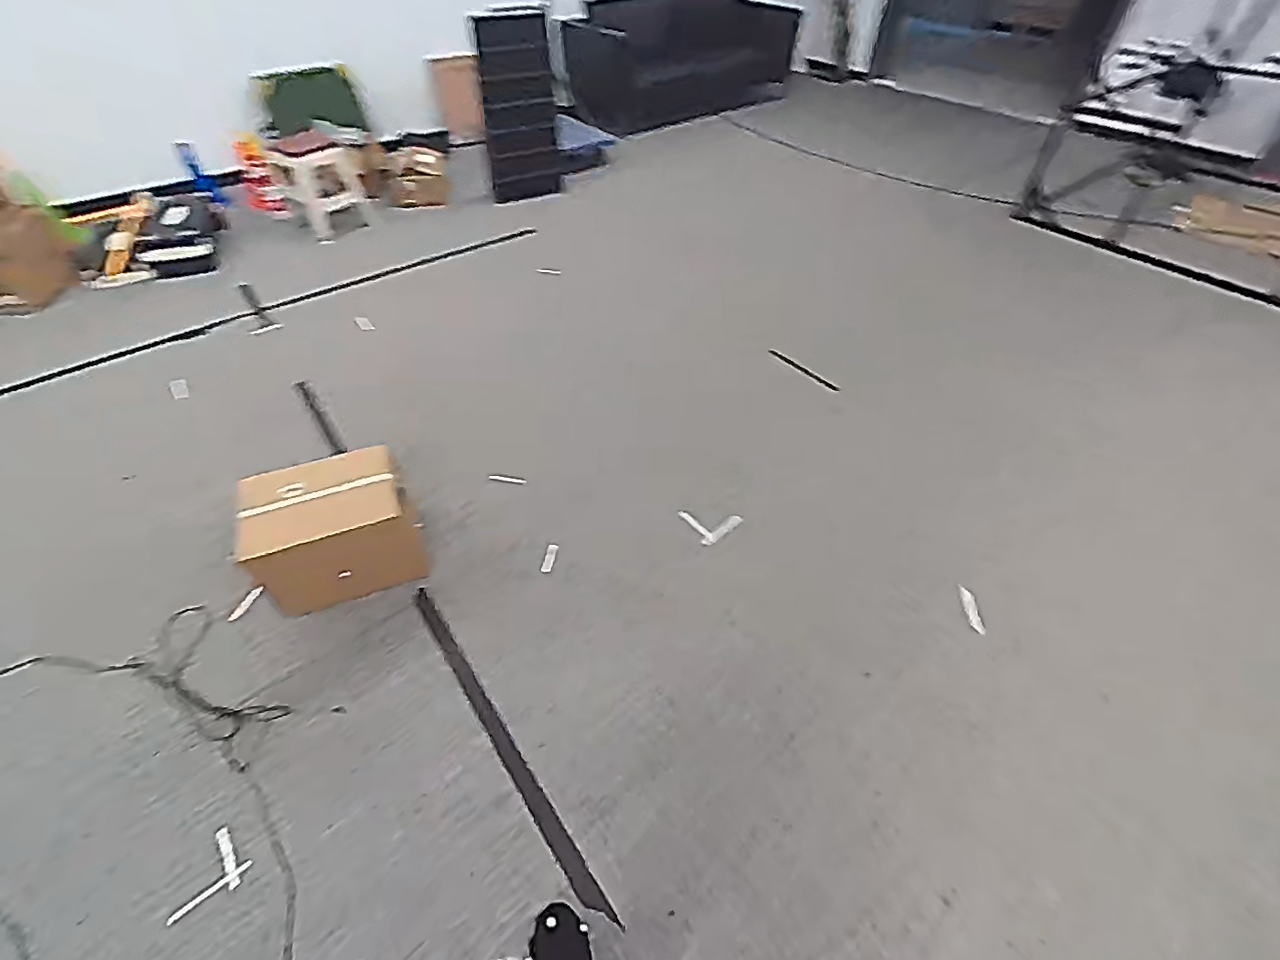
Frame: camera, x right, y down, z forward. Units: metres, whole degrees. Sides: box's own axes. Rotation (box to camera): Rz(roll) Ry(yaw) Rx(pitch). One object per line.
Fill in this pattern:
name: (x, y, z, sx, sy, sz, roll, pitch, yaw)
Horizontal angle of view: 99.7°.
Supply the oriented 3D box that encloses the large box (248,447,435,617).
large box: (-0.894, 0.156, 1.652, 0.408, 0.320, 0.320, -18, 50, -16)
